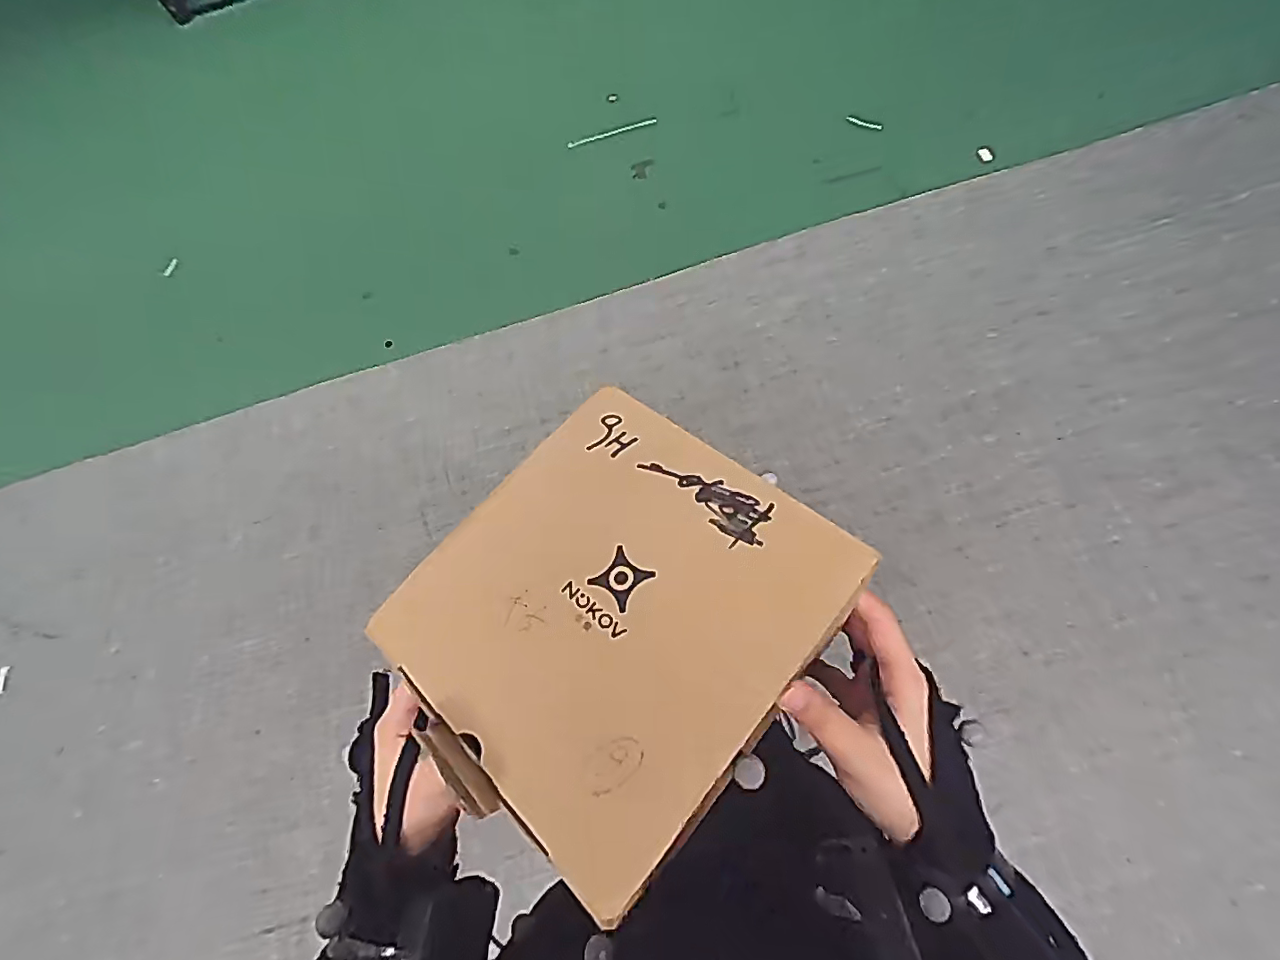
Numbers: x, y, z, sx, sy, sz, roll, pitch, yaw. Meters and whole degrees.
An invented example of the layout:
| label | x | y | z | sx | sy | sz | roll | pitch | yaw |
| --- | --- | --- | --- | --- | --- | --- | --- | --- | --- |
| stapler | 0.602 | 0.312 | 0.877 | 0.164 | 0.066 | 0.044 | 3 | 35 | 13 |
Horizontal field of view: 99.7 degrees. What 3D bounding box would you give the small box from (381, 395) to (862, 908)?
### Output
| label | x | y | z | sx | sy | sz | roll | pitch | yaw |
| --- | --- | --- | --- | --- | --- | --- | --- | --- | --- |
| small box | 0.001 | 0.091 | 0.320 | 0.168 | 0.176 | 0.179 | 35 | 74 | 25 |
